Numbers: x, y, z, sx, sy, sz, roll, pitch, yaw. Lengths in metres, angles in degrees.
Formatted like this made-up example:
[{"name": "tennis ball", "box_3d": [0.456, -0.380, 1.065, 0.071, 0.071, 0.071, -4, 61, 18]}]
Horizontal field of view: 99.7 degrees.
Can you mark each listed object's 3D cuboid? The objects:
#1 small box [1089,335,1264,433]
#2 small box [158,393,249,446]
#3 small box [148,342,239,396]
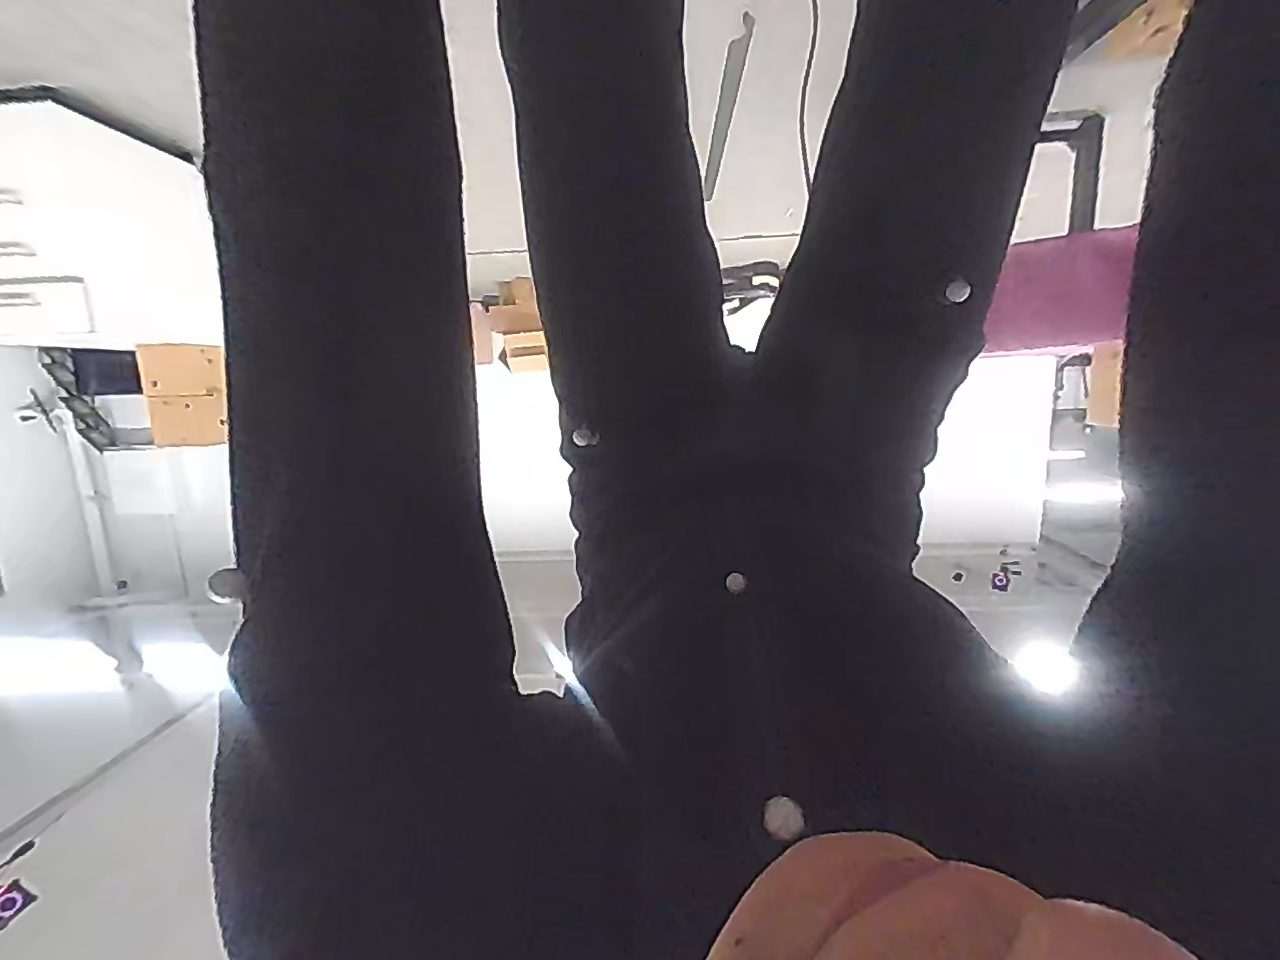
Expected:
[{"name": "small box", "box_3d": [1.024, -0.187, 1.042, 0.179, 0.176, 0.168, -2, -169, 4]}, {"name": "small box", "box_3d": [-1.505, -0.214, 1.867, 0.168, 0.176, 0.179, -1, -168, 3]}, {"name": "small box", "box_3d": [-1.516, -0.375, 1.834, 0.179, 0.176, 0.168, -1, -169, 4]}]
